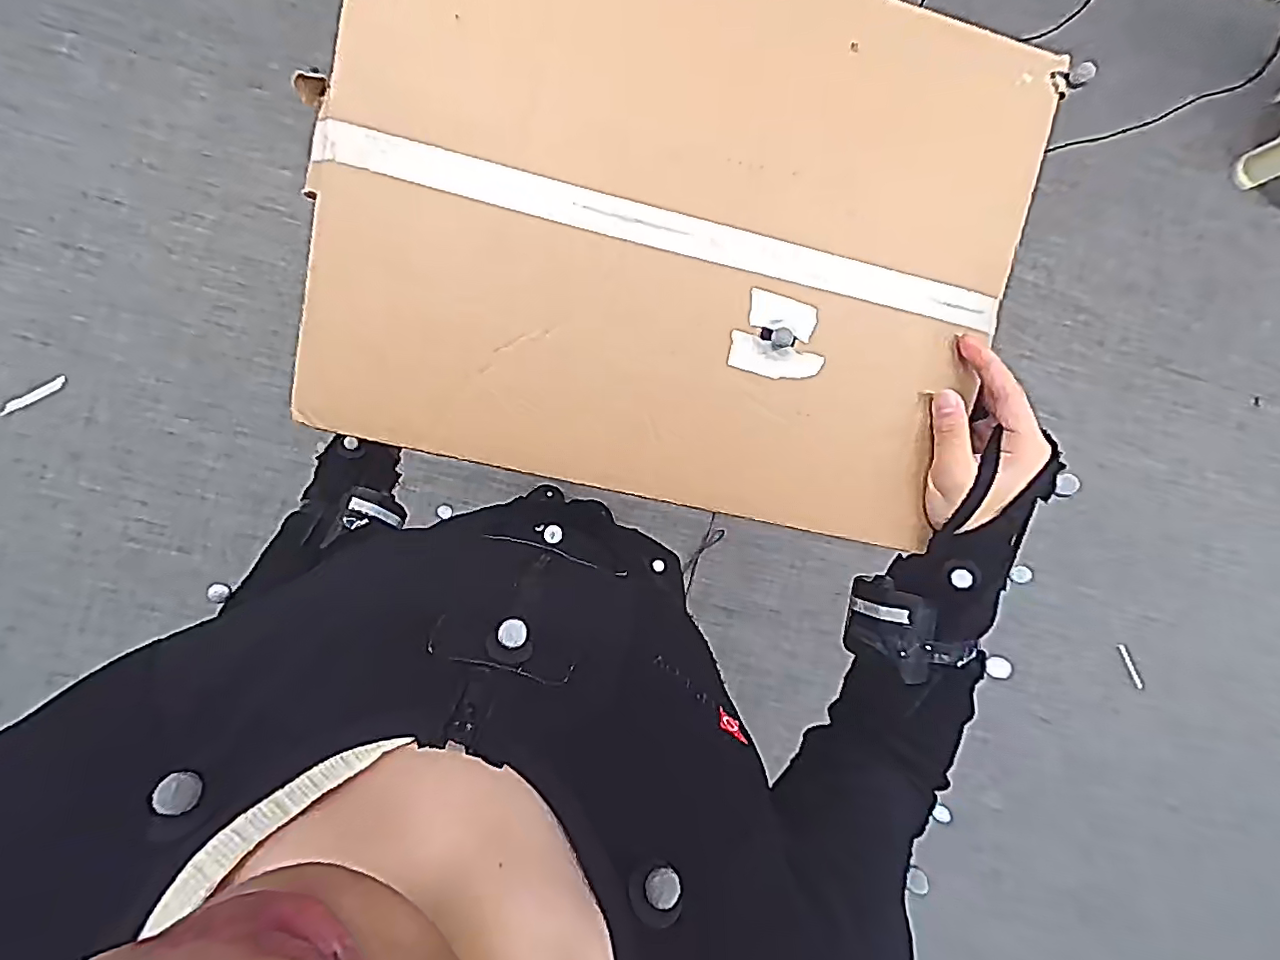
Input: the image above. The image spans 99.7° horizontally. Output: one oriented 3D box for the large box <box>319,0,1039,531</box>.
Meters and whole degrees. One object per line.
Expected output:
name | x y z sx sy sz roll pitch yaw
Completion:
large box | 0.012 -0.167 0.475 0.408 0.320 0.320 11 98 -8
